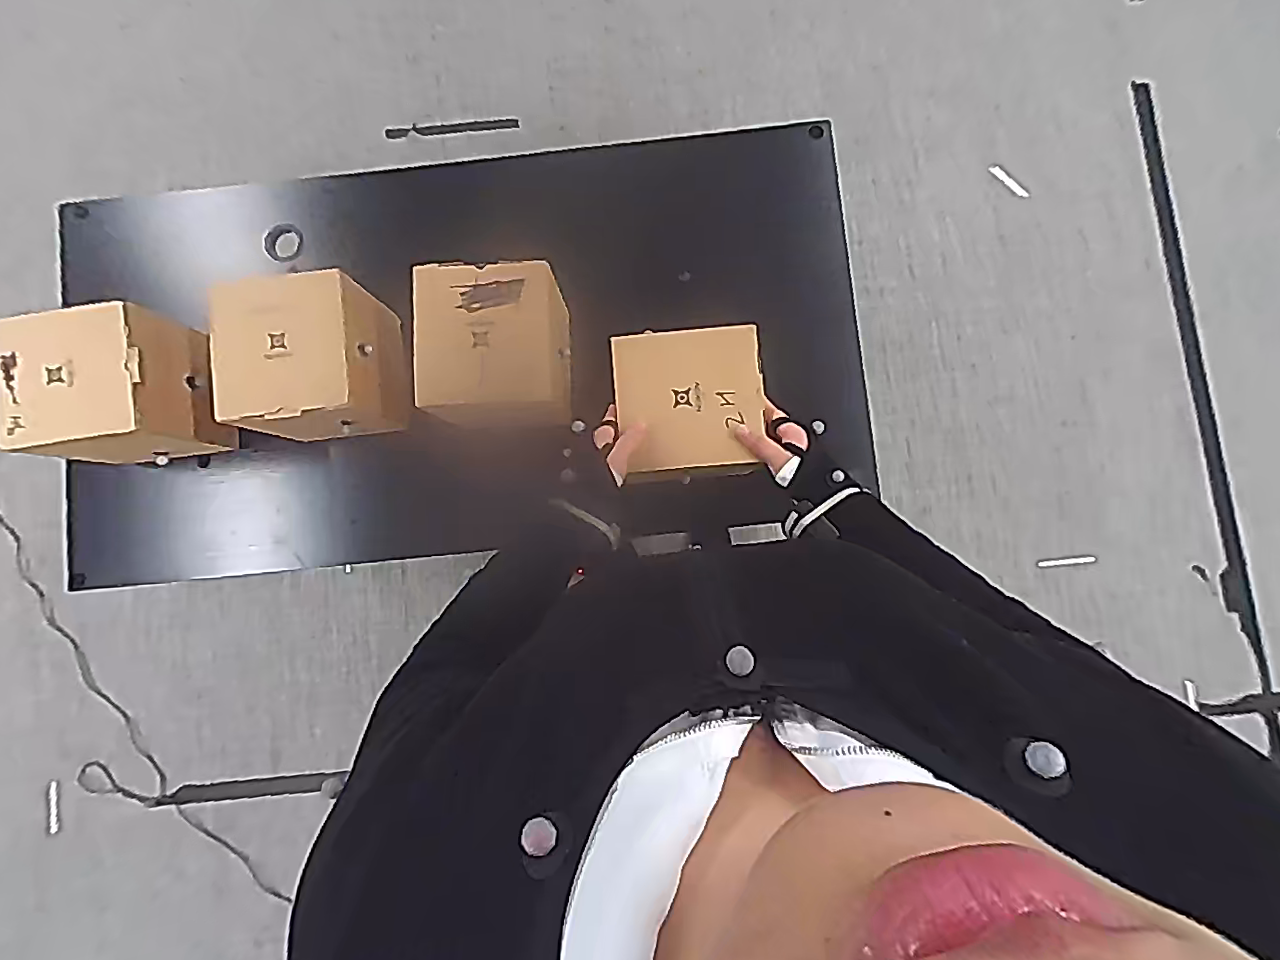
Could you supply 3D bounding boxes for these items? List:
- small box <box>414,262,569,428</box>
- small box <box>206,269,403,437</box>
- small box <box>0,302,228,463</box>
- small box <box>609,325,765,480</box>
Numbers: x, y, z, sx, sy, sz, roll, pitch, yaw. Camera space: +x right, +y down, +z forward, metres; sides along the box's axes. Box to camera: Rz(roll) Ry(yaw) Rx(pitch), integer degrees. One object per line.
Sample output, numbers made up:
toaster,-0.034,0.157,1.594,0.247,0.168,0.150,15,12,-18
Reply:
small box,-0.189,-0.171,0.729,0.168,0.176,0.179,-2,87,1
small box,-0.439,-0.158,0.733,0.168,0.176,0.179,-7,85,0
small box,-0.698,-0.121,0.732,0.179,0.176,0.168,-8,85,-1
small box,0.057,-0.091,0.718,0.179,0.176,0.168,-5,86,1
